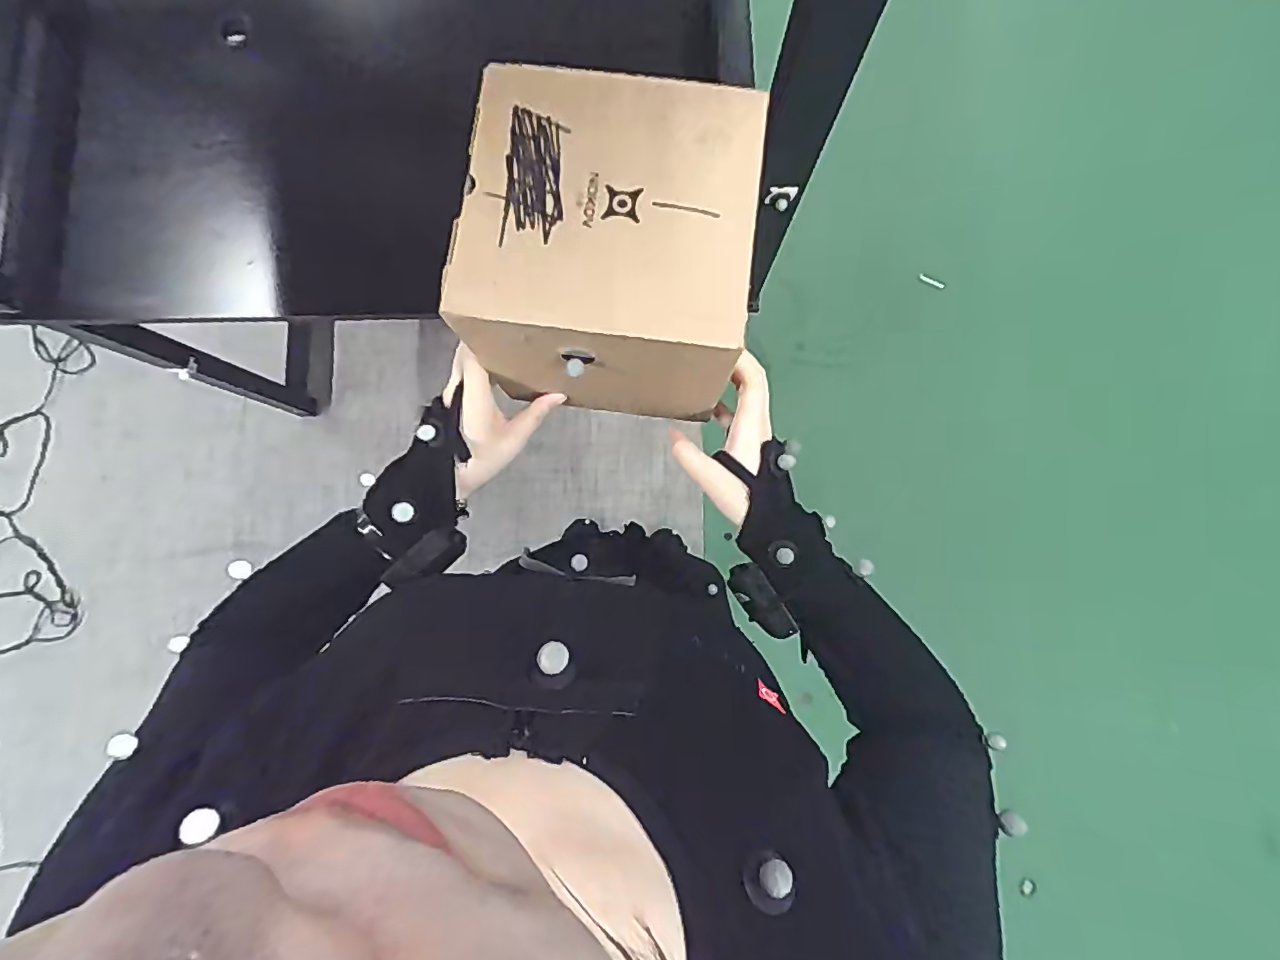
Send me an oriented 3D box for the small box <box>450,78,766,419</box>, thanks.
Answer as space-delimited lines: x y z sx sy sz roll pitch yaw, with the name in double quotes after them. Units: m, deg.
-0.017 -0.150 0.405 0.179 0.176 0.168 7 82 0 "small box"
